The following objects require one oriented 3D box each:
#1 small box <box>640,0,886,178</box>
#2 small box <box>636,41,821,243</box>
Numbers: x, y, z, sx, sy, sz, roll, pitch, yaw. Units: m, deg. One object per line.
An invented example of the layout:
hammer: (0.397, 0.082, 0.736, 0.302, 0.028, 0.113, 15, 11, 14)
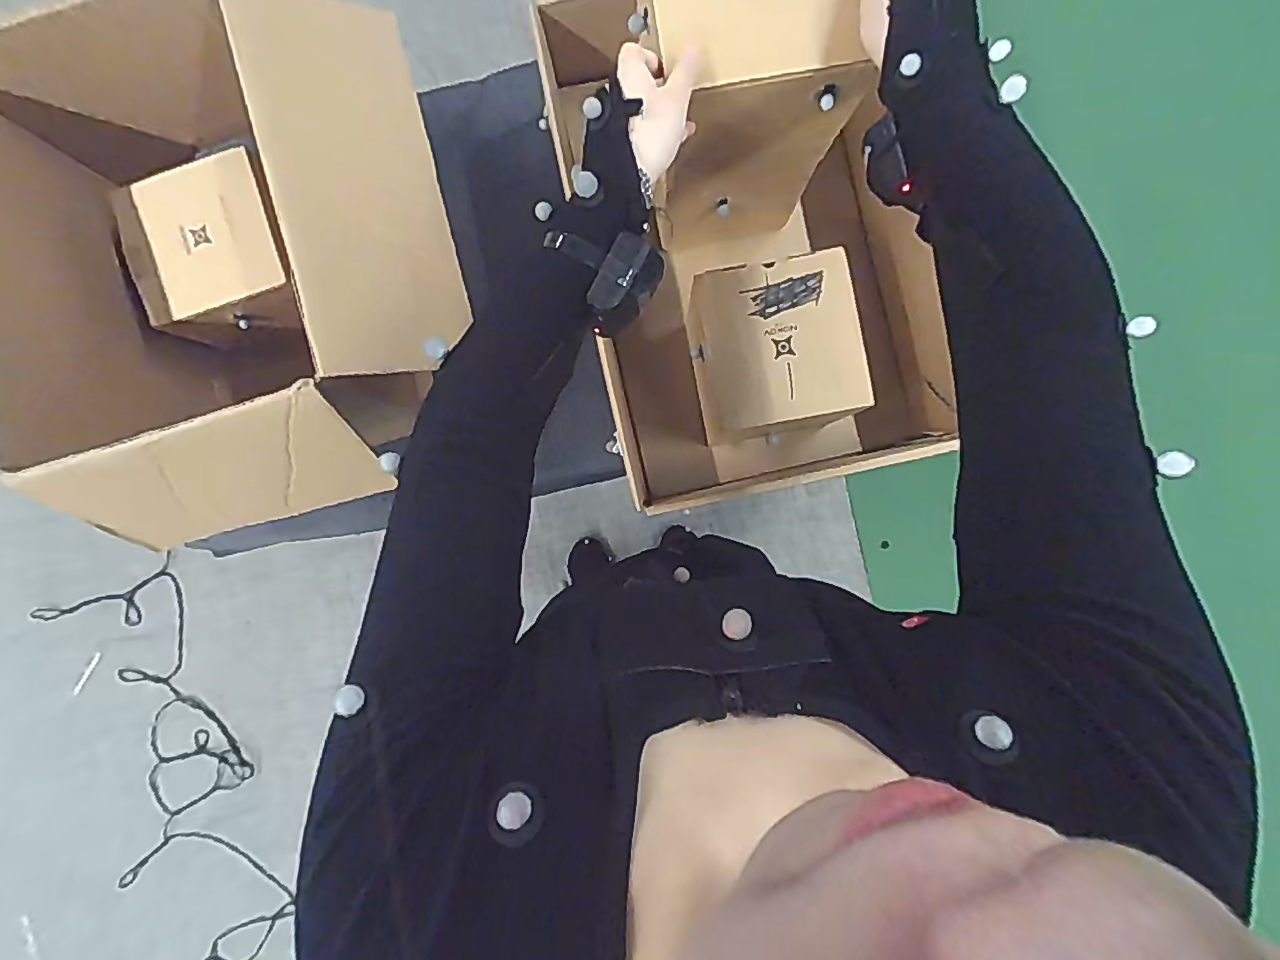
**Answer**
small box: (0.094, -0.401, 0.491, 0.179, 0.176, 0.168, -9, 97, 1)
small box: (0.100, -0.415, 0.664, 0.179, 0.176, 0.168, -12, 91, 3)
